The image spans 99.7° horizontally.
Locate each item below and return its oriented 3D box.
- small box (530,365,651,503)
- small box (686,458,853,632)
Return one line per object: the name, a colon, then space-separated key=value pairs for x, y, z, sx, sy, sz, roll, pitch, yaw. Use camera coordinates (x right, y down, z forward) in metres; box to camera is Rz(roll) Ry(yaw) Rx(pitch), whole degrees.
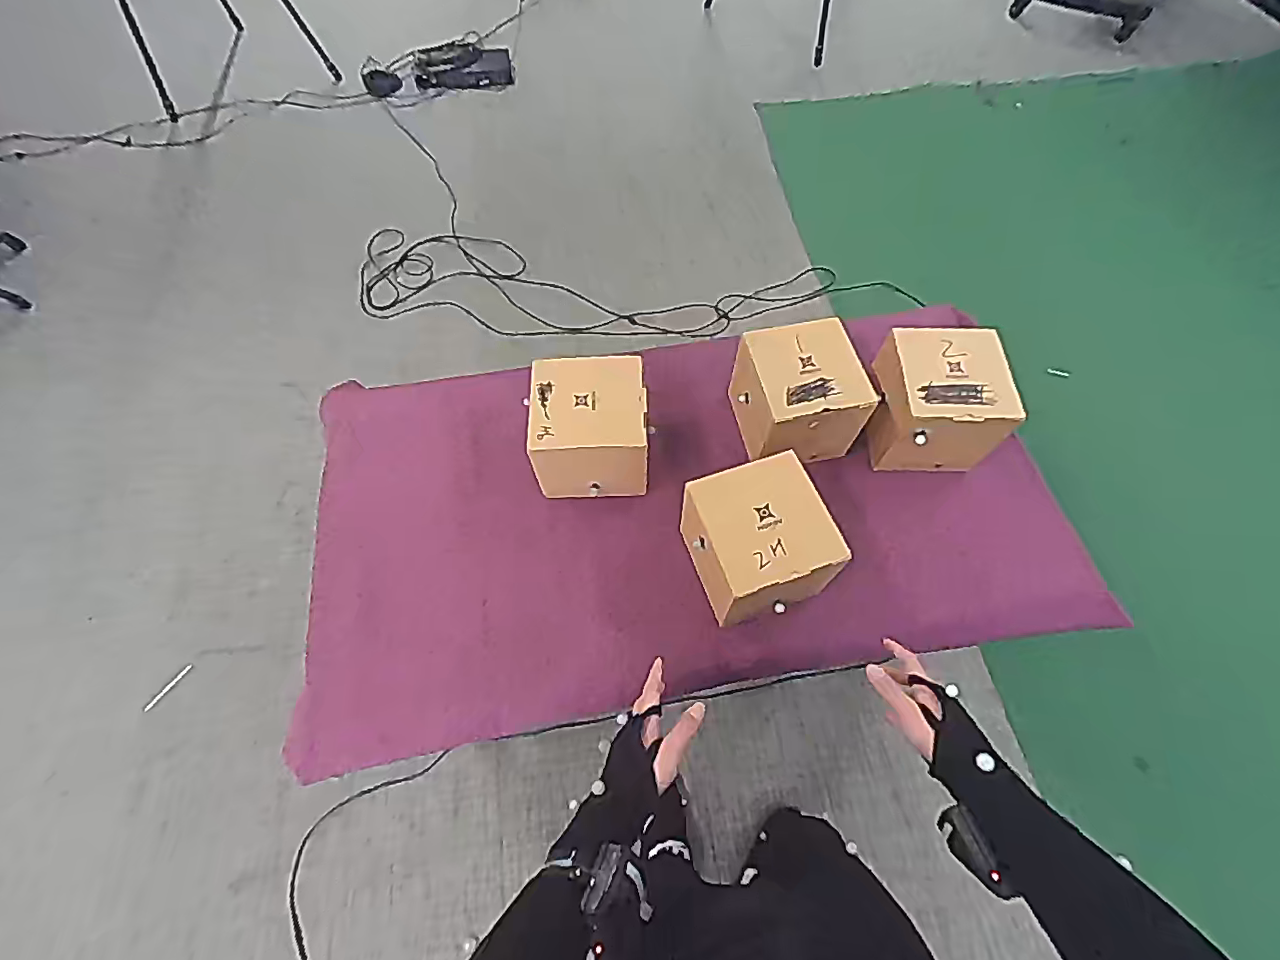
small box: x=-0.073 y=-0.069 z=0.883 sx=0.179 sy=0.176 sz=0.168 roll=-1 pitch=63 yaw=0
small box: x=0.172 y=0.099 z=0.790 sx=0.168 sy=0.176 sz=0.179 roll=-17 pitch=62 yaw=-7
